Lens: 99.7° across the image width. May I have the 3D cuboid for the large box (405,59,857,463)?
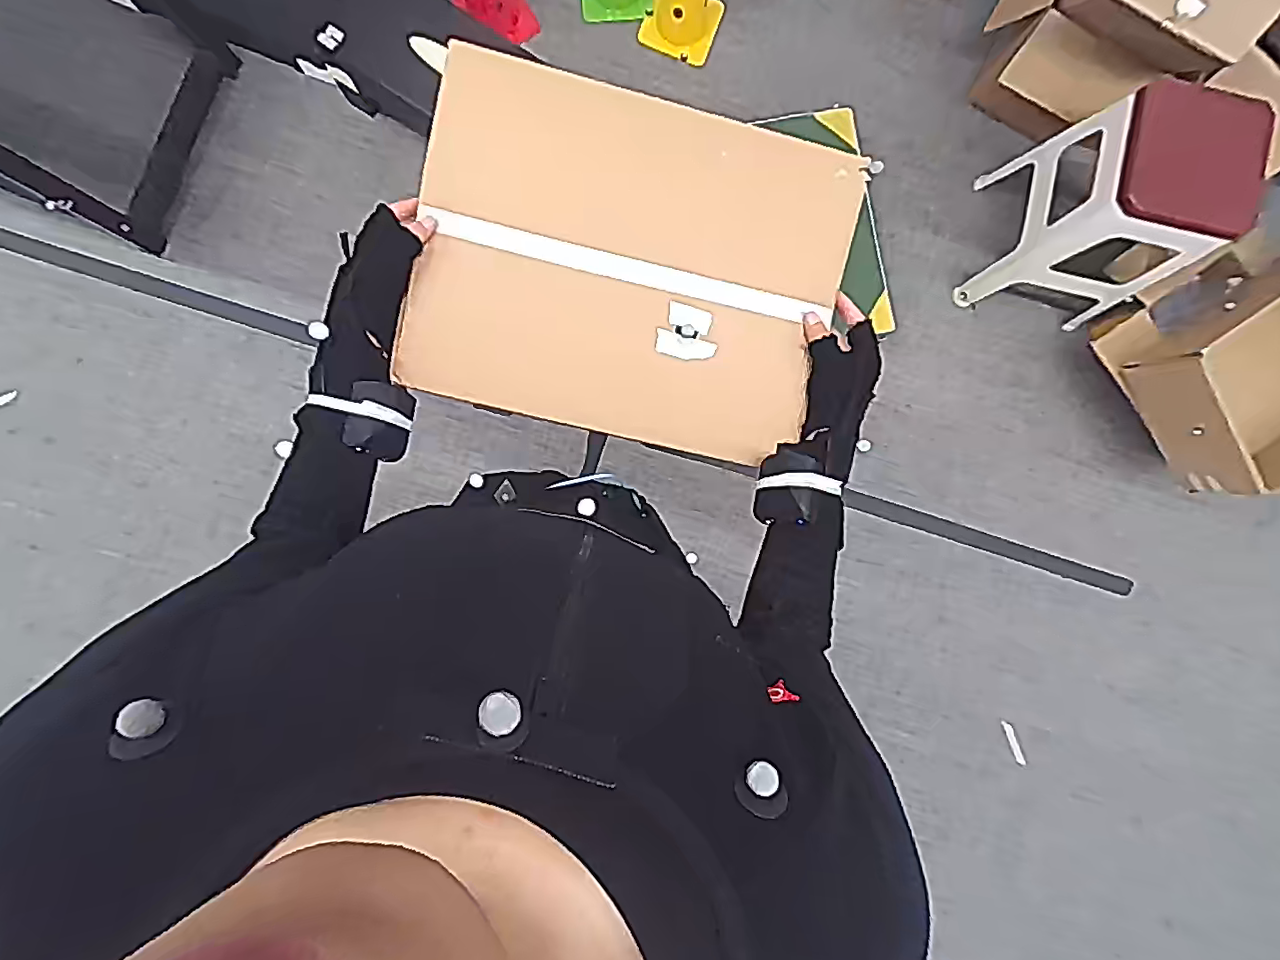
[{"bbox_3d":[-0.020,-0.219,0.678,0.408,0.320,0.320,13,96,-6],"label":"large box"}]
